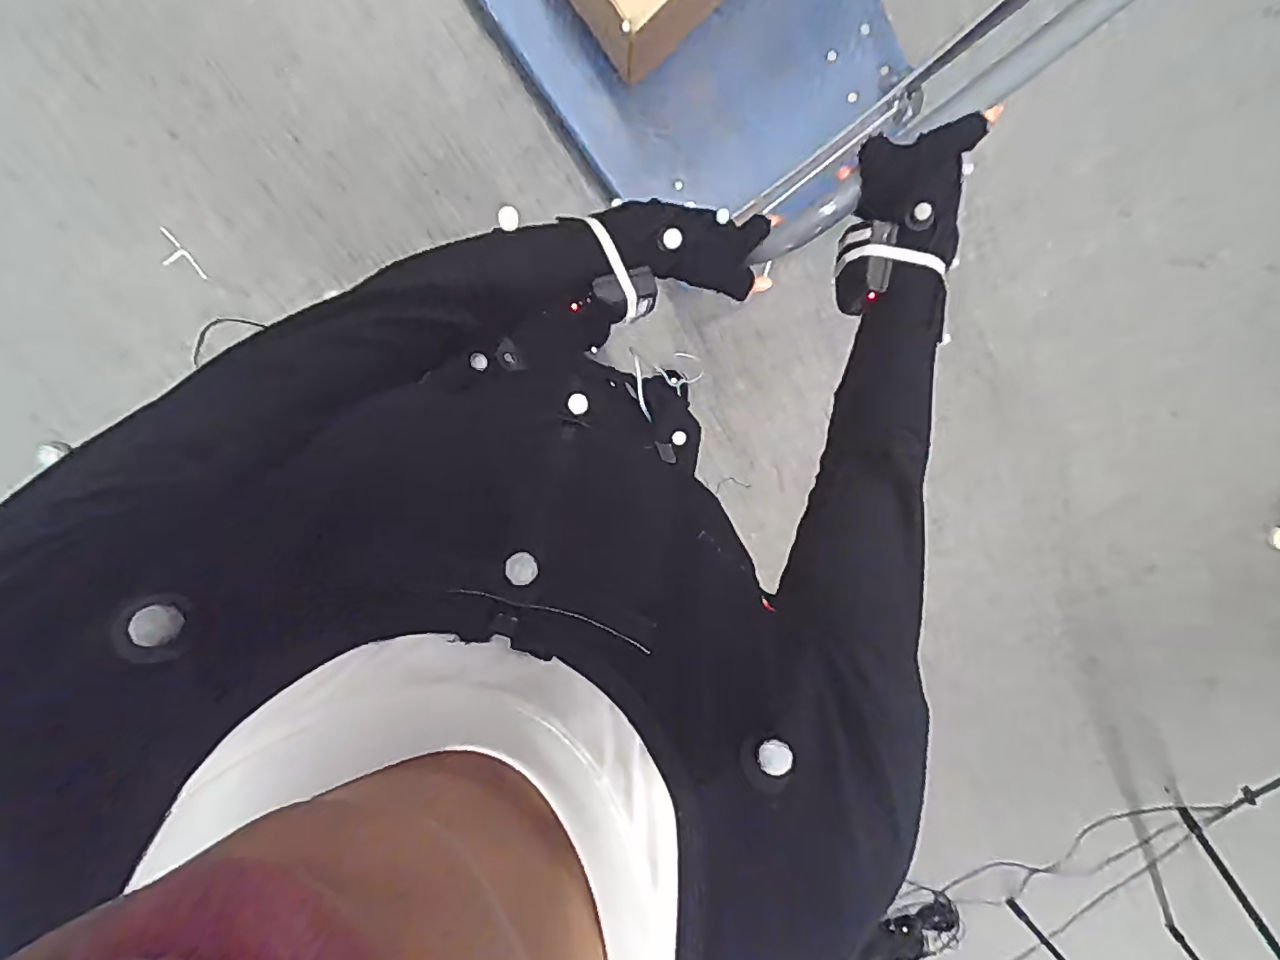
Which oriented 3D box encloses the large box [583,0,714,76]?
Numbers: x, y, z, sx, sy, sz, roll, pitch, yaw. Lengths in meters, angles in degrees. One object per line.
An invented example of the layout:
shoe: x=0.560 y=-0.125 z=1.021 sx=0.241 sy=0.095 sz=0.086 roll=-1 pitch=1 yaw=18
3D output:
large box: x=0.053 y=-0.915 z=0.788 sx=0.408 sy=0.320 sz=0.320 roll=-37 pitch=110 yaw=15
